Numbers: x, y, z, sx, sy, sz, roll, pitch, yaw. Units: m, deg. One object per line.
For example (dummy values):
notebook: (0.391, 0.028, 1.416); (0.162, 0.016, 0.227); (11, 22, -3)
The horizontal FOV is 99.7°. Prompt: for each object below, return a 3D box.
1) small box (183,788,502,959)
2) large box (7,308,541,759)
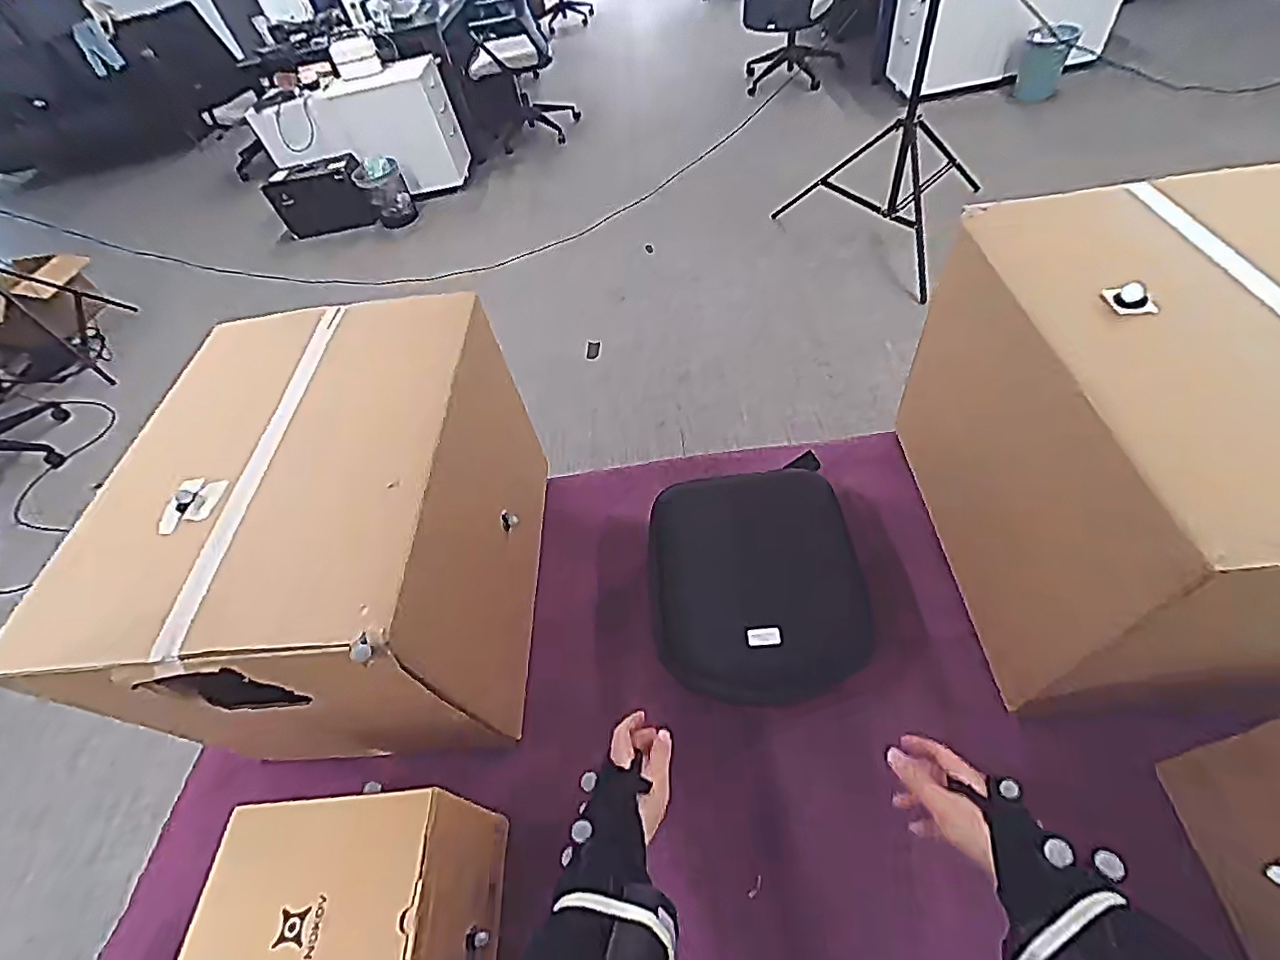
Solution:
small box: (-0.236, 0.375, 0.456); (0.179, 0.176, 0.168); (-8, 50, 5)
large box: (-0.309, 0.067, 0.621); (0.320, 0.320, 0.408); (-7, 54, 5)
